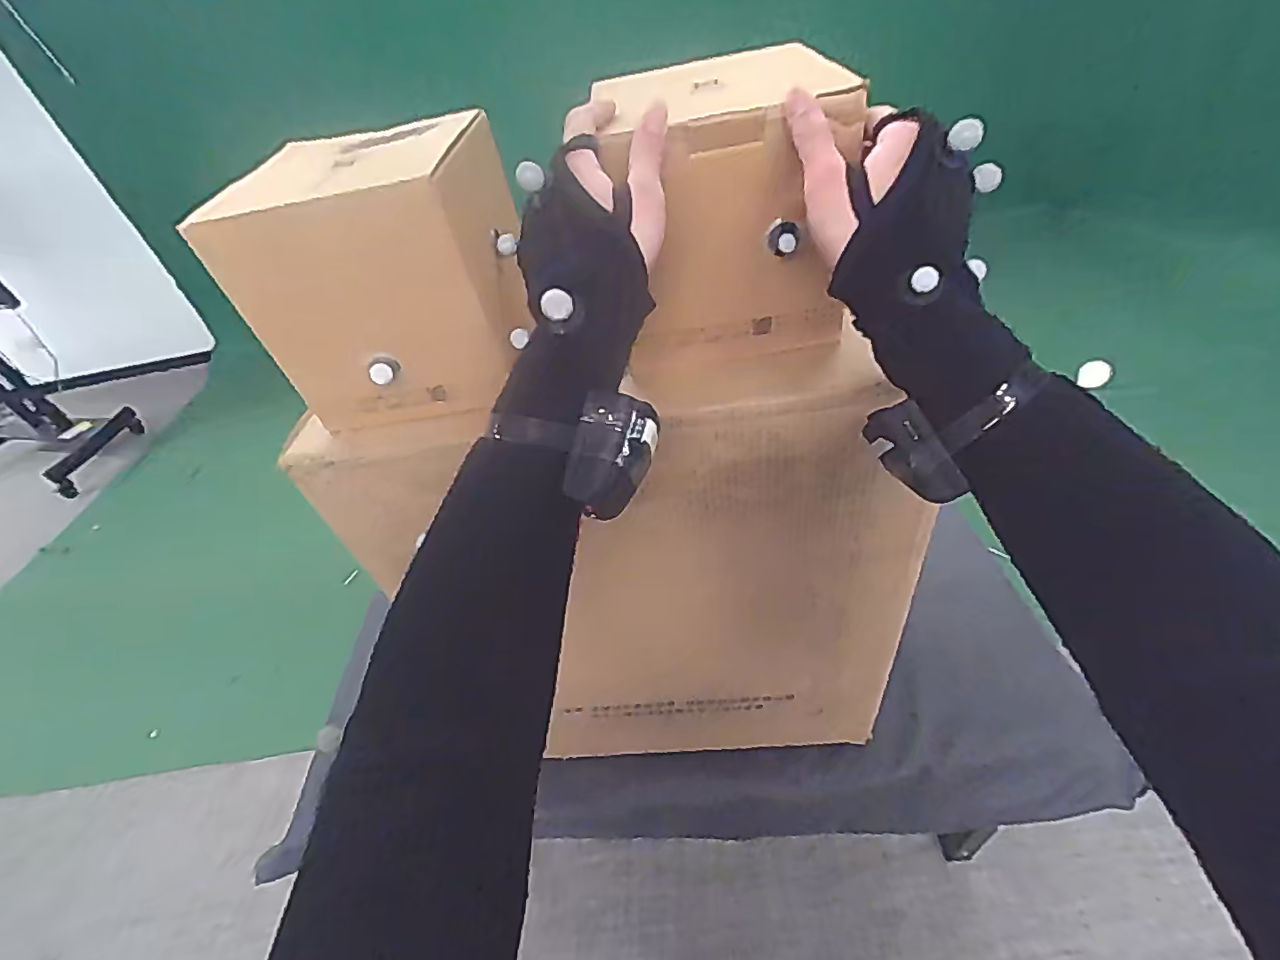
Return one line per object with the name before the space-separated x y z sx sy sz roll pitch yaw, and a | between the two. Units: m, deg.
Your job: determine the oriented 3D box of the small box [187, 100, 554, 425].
small box | -0.172 -0.165 0.420 0.168 0.176 0.179 -7 46 7
